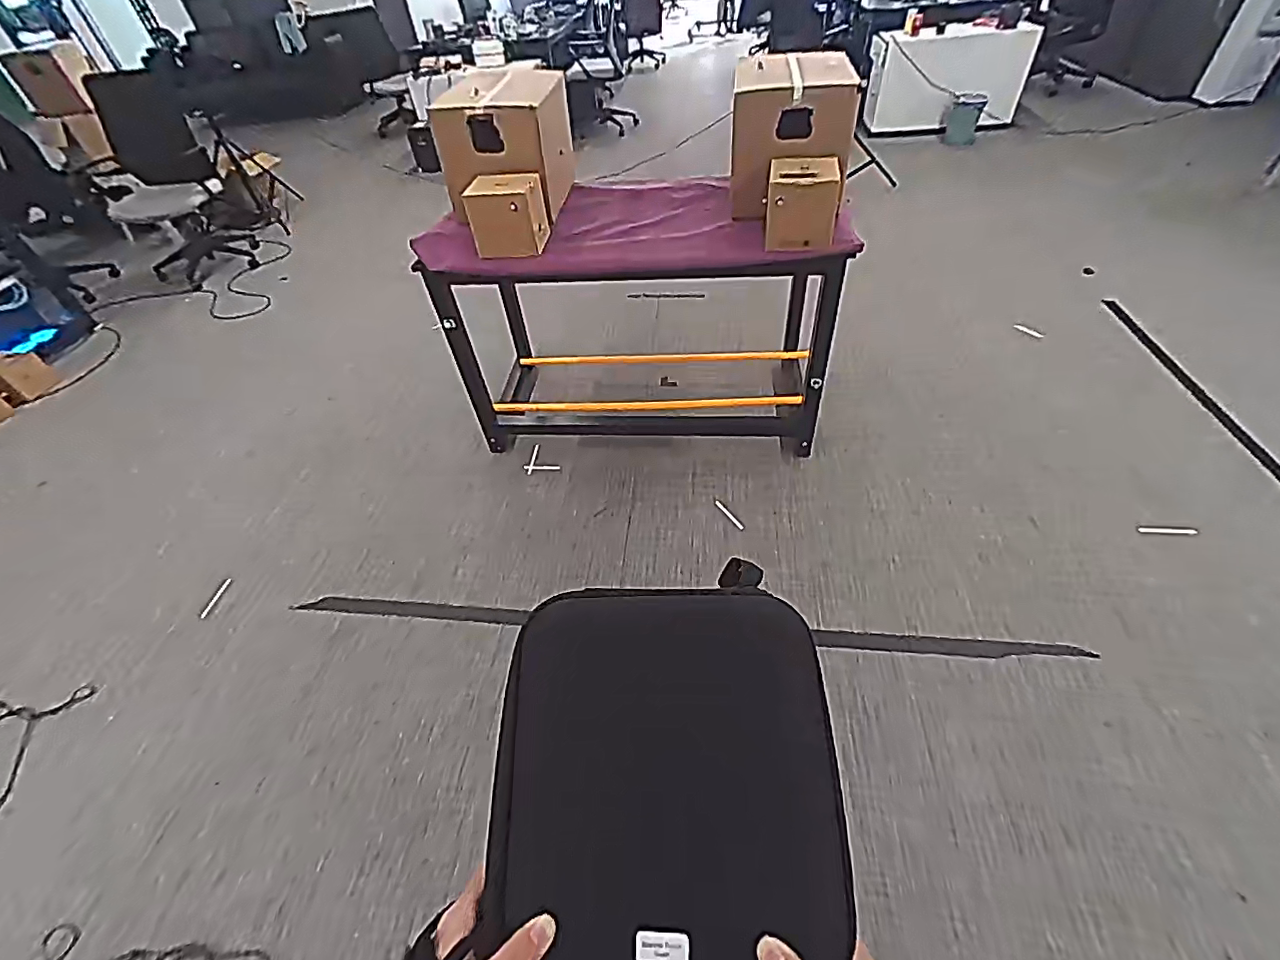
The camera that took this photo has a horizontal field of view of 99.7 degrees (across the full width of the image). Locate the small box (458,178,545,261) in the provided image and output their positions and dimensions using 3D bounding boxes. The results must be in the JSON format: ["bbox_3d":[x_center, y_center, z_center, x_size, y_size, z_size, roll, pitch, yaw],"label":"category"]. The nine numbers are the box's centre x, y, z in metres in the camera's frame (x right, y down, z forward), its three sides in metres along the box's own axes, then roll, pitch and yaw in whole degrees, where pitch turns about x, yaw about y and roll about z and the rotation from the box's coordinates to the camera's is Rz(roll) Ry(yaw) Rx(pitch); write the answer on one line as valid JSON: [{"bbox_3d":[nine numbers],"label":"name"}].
[{"bbox_3d":[-0.378,-0.724,1.511,0.179,0.176,0.168,0,45,5],"label":"small box"}]

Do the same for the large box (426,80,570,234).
[{"bbox_3d":[-0.414,-1.016,1.697,0.320,0.320,0.408,1,49,5],"label":"large box"}]
